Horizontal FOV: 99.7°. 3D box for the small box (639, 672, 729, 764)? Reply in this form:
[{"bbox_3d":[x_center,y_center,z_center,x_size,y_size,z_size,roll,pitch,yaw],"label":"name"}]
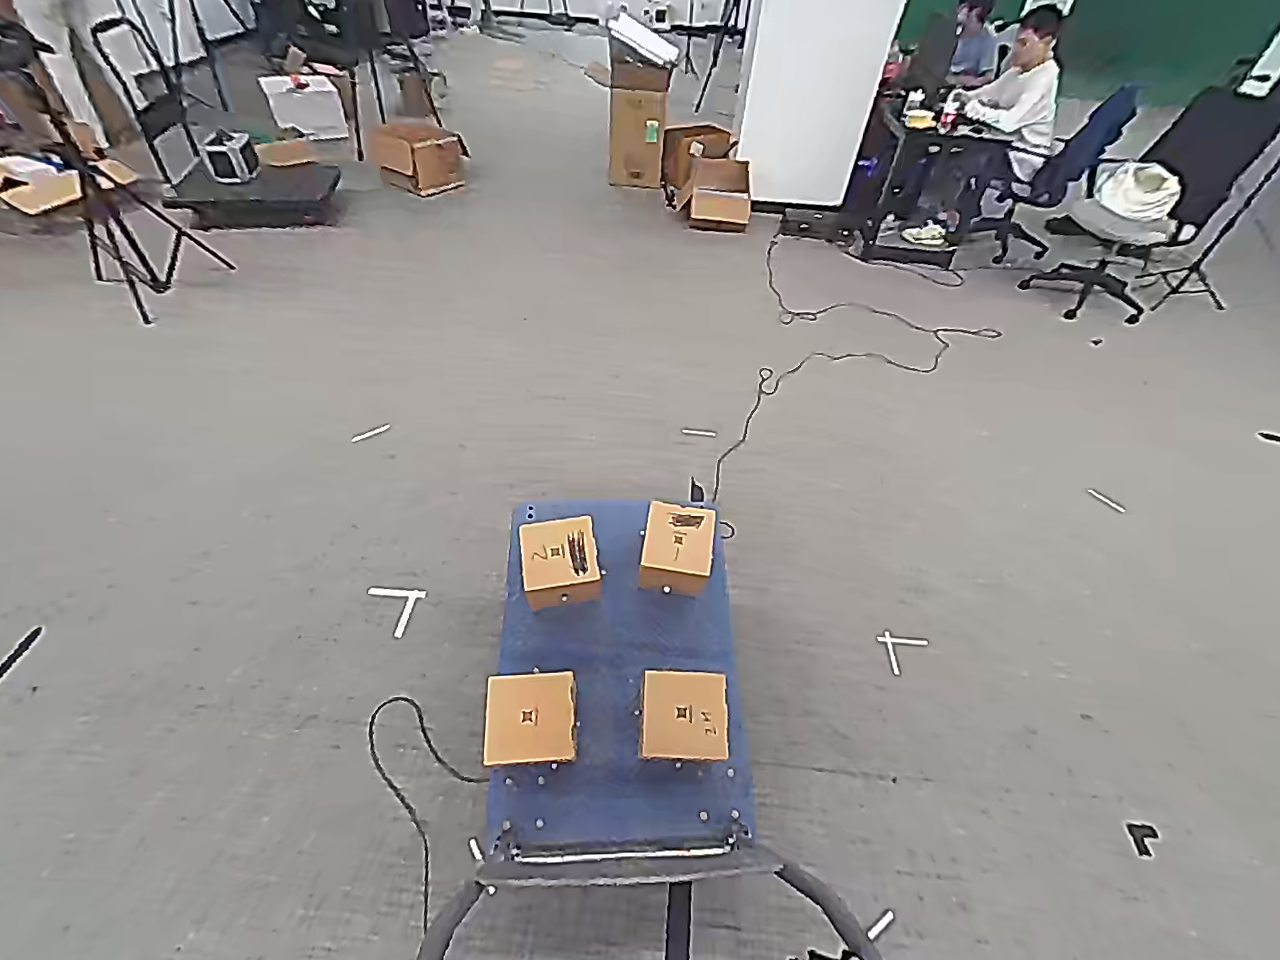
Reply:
[{"bbox_3d":[0.090,0.521,1.176,0.179,0.176,0.168,3,61,-2],"label":"small box"}]

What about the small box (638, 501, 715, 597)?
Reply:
[{"bbox_3d":[0.088,0.178,1.367,0.168,0.176,0.179,9,62,1],"label":"small box"}]

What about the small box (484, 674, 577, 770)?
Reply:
[{"bbox_3d":[-0.227,0.520,1.155,0.179,0.176,0.168,-2,61,-7],"label":"small box"}]
